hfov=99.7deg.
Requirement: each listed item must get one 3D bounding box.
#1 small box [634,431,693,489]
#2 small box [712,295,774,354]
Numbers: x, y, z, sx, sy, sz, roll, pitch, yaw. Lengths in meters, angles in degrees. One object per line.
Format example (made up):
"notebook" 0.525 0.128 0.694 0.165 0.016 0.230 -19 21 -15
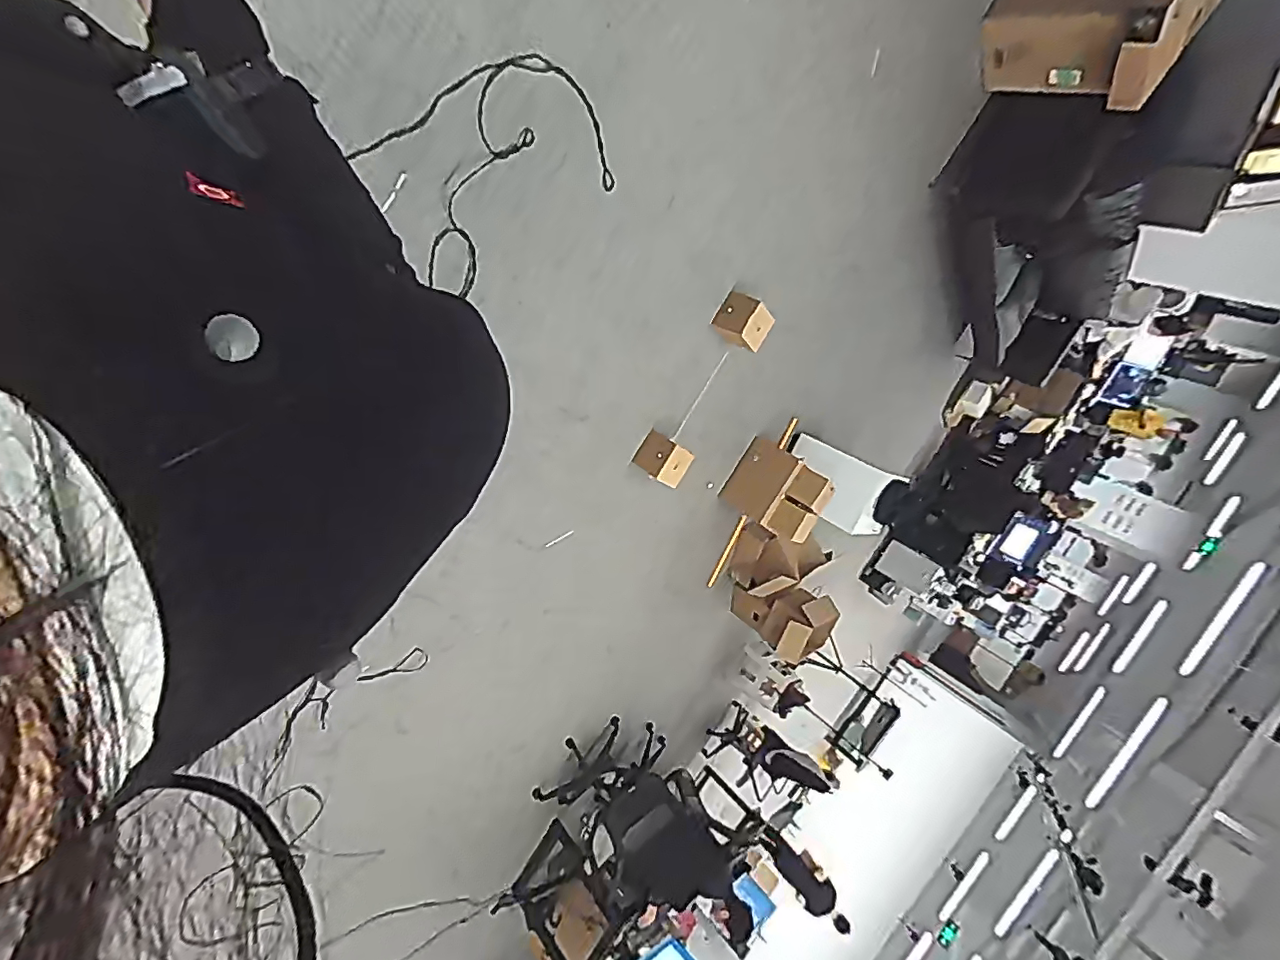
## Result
"small box" 0.099 -0.091 2.410 0.168 0.176 0.179 26 96 -53
"small box" 0.447 -0.678 2.348 0.179 0.176 0.168 26 97 -53
